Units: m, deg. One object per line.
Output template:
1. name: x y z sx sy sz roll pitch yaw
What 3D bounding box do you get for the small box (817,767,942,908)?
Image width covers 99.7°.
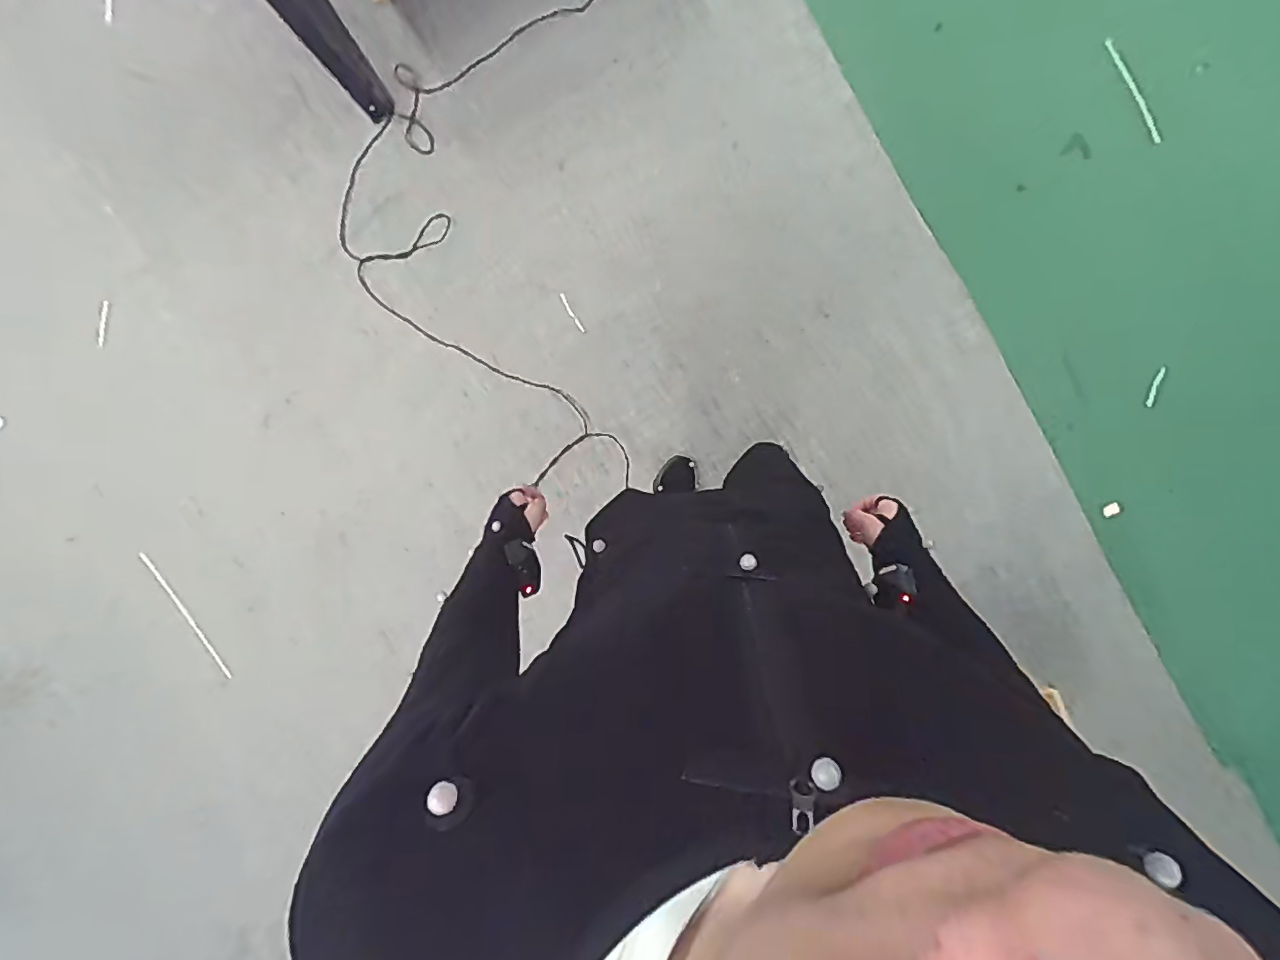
1. small box: 0.508 0.760 1.174 0.168 0.176 0.179 -22 95 3
